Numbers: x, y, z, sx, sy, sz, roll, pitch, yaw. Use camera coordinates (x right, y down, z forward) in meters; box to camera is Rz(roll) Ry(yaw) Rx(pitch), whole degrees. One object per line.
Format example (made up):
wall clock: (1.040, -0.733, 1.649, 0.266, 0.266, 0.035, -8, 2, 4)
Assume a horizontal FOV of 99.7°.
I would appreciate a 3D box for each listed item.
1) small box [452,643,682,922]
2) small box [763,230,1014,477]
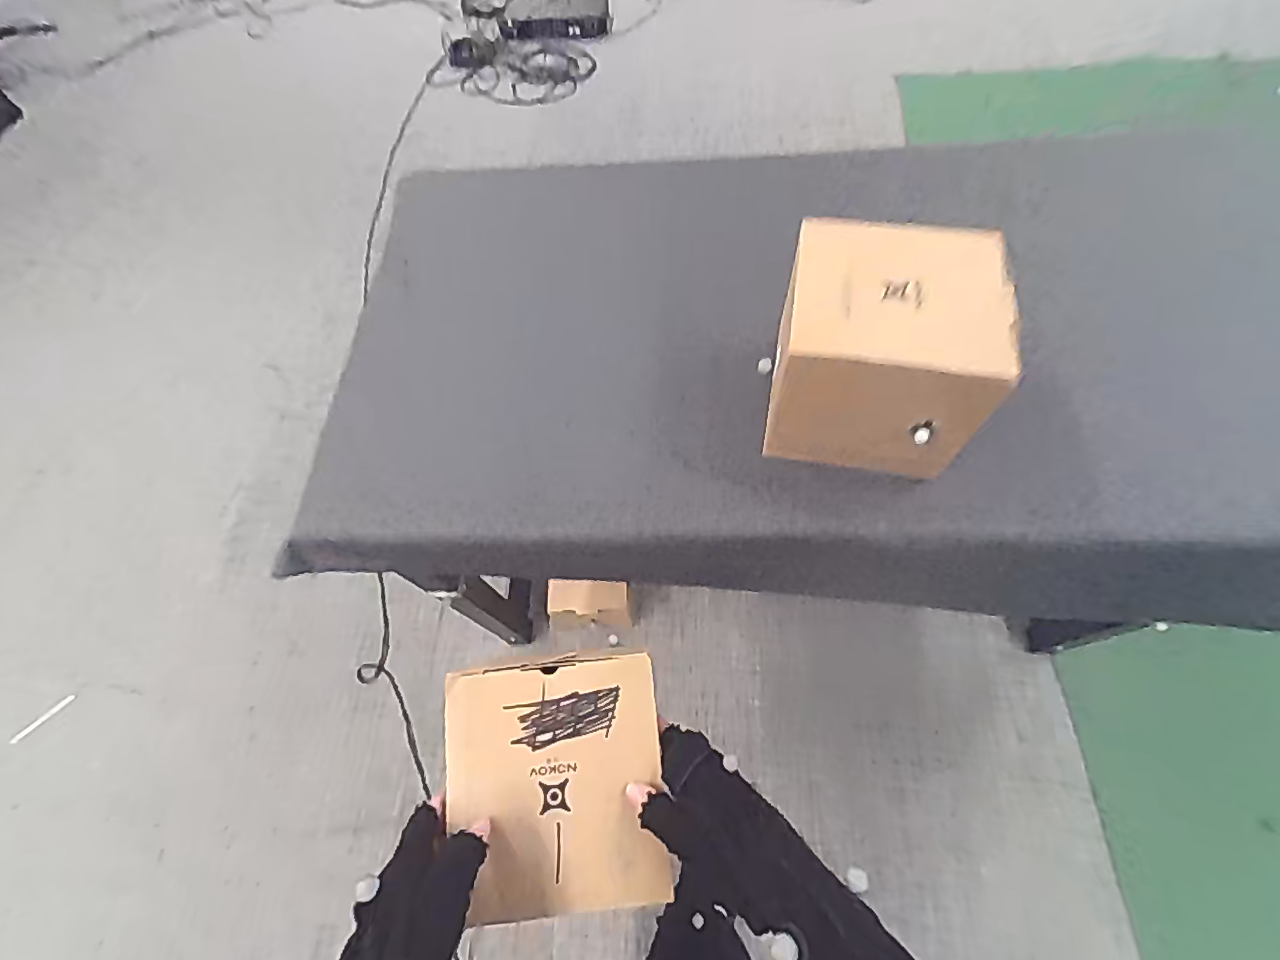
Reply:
small box: (-0.061, 0.241, 0.482, 0.168, 0.176, 0.179, -5, 76, -3)
small box: (0.228, -0.118, 0.539, 0.179, 0.176, 0.168, 8, 62, 9)
